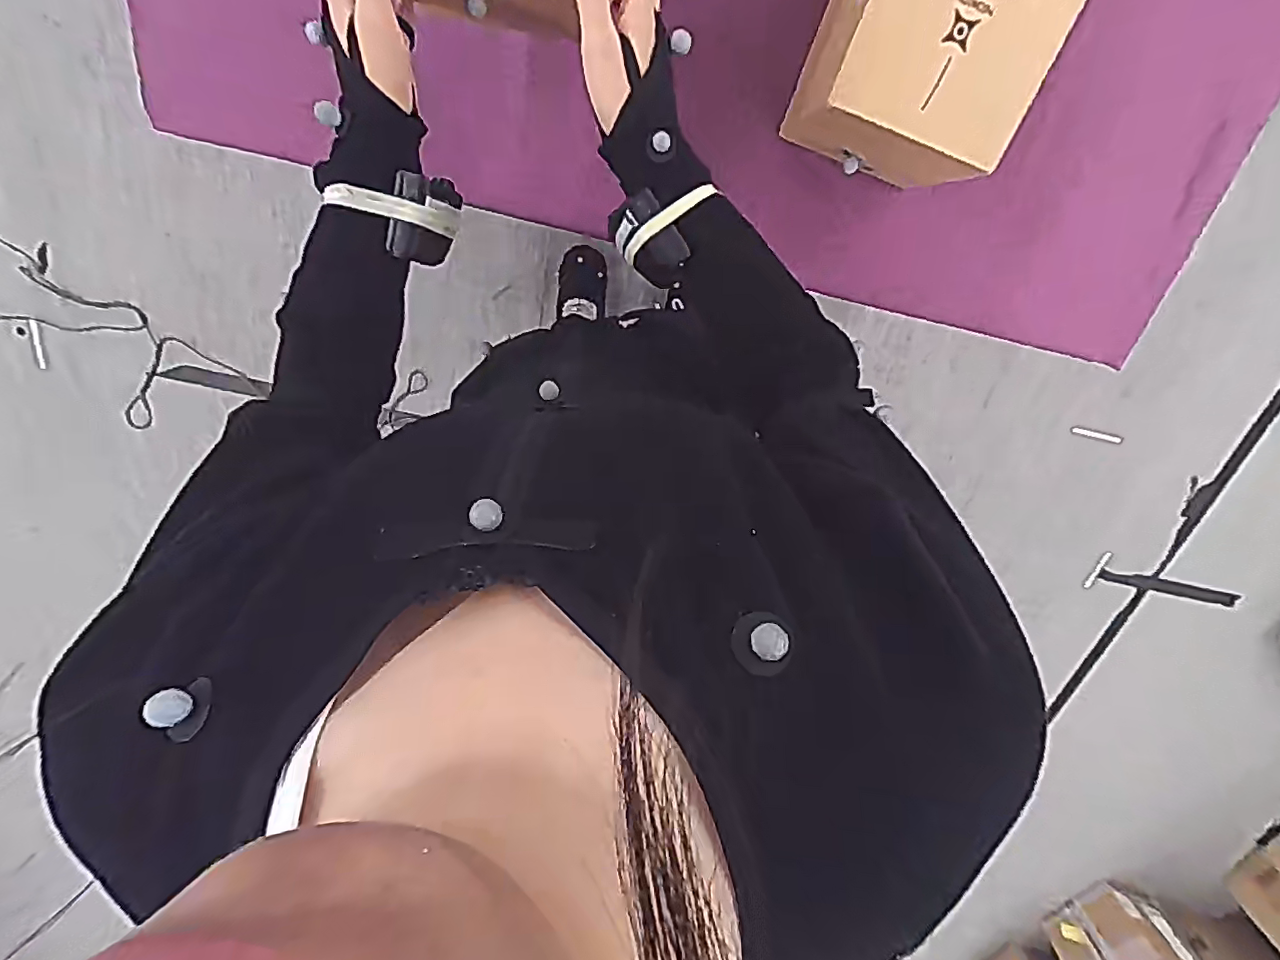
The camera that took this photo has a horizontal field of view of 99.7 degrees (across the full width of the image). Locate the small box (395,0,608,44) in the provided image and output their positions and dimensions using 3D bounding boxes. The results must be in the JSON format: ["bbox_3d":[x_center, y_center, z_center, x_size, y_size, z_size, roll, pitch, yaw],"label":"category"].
[{"bbox_3d":[-0.105,-0.437,0.383,0.179,0.176,0.168,4,119,-9],"label":"small box"}]

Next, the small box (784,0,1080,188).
[{"bbox_3d":[0.258,-0.401,0.512,0.168,0.176,0.179,17,113,-8],"label":"small box"}]
